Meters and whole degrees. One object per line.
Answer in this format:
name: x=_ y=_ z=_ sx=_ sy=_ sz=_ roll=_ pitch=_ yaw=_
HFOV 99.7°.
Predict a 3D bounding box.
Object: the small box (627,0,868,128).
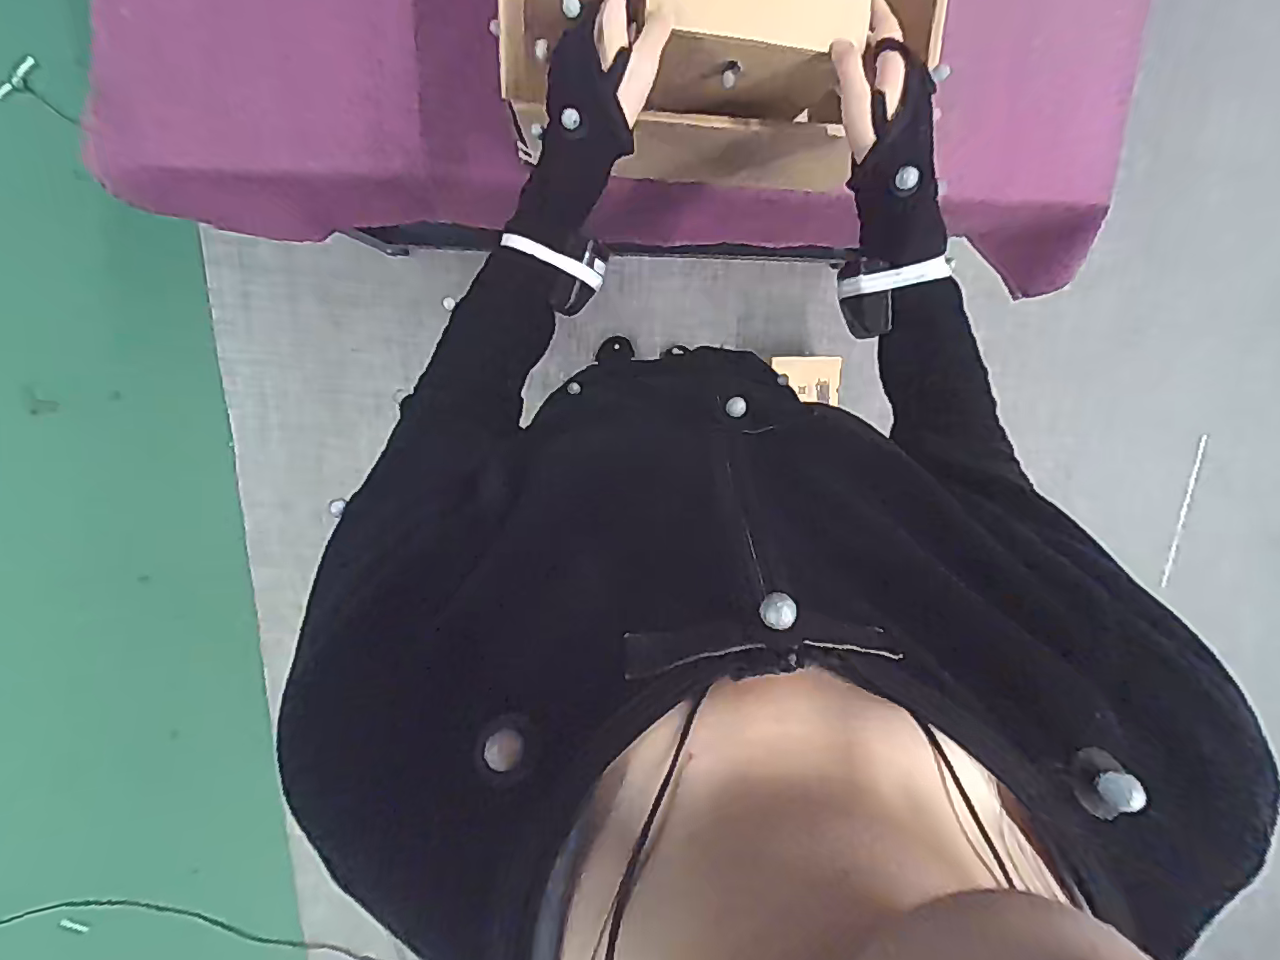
small box: x=0.084 y=-0.429 z=0.467 sx=0.179 sy=0.176 sz=0.168 roll=3 pitch=108 yaw=-7
